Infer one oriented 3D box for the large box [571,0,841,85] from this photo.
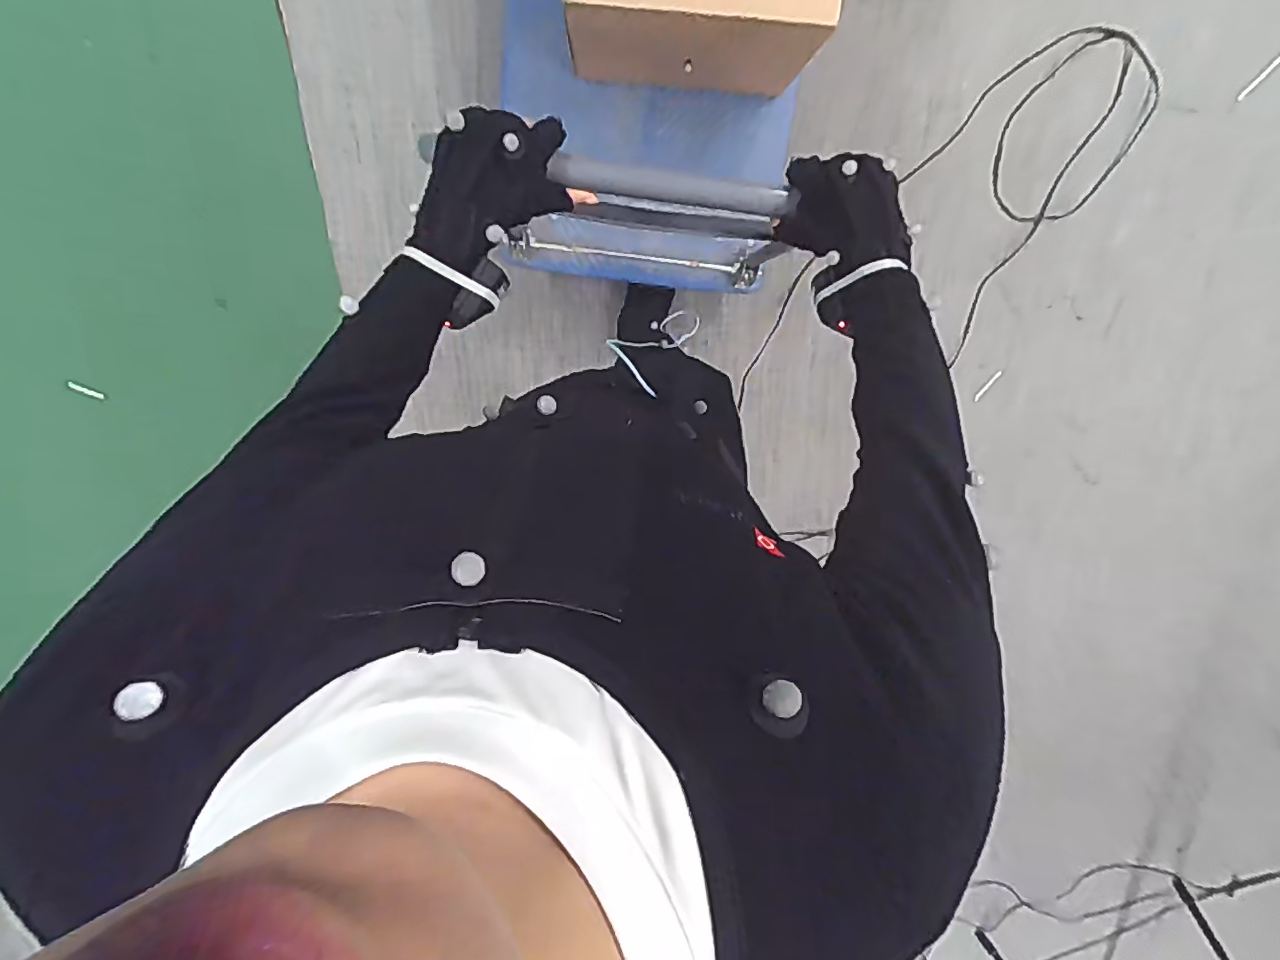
[{"bbox_3d":[0.100,-0.882,0.883,0.408,0.320,0.320,2,109,-2],"label":"large box"}]
